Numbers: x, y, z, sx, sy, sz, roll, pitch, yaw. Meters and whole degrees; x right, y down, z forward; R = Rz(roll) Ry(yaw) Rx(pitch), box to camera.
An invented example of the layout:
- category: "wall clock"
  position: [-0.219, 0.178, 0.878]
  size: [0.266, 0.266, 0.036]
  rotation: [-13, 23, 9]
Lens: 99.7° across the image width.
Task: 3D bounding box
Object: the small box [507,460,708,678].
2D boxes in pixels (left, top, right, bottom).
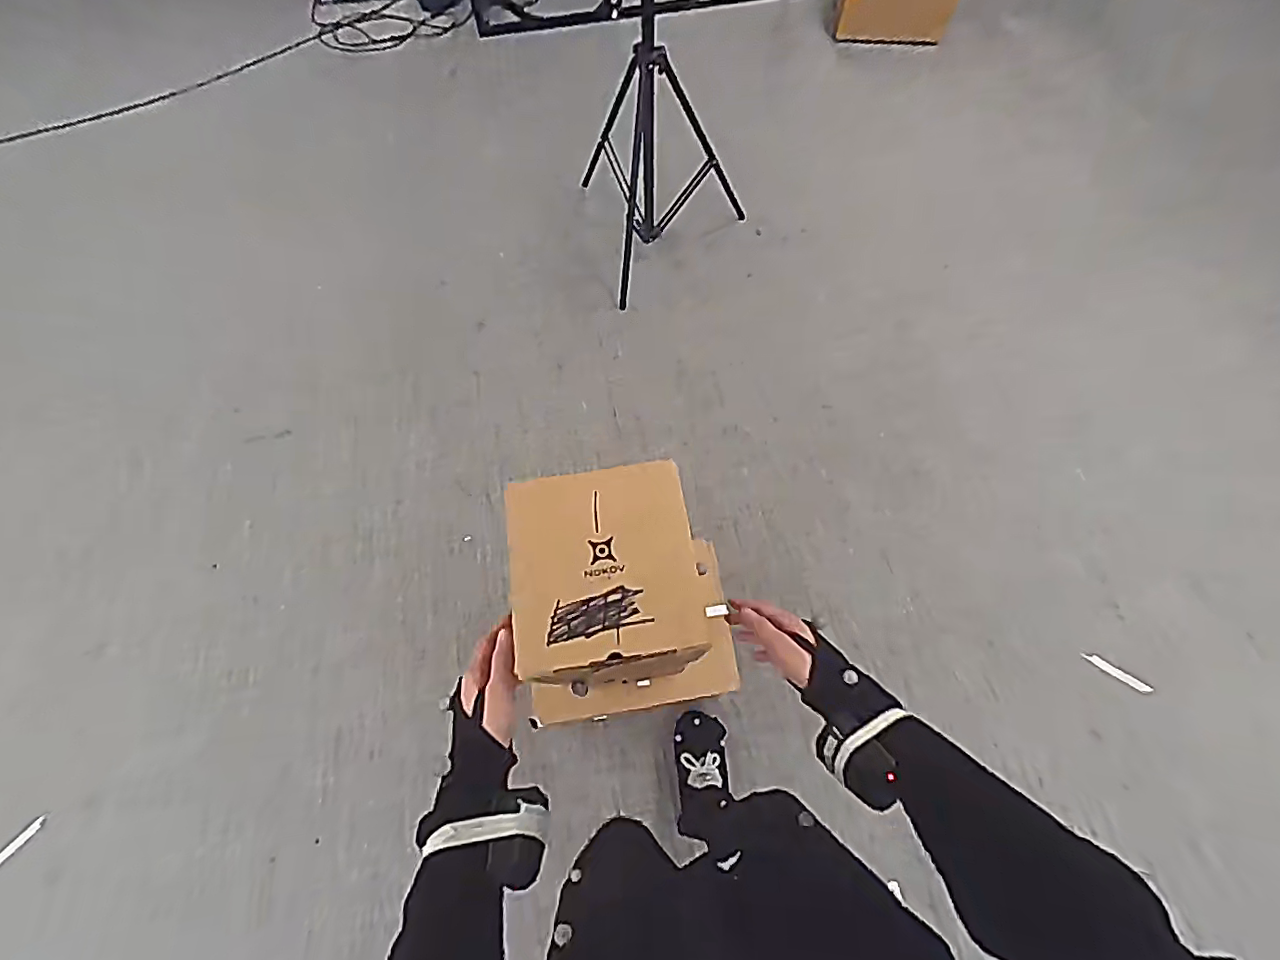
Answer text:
- category: "small box"
  position: [-0.031, 0.101, 0.552]
  size: [0.168, 0.176, 0.179]
  rotation: [-9, 68, -2]

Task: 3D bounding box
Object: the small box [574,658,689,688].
- category: "small box"
  position: [-0.024, 0.223, 0.857]
  size: [0.168, 0.176, 0.179]
  rotation: [-11, 69, -3]
